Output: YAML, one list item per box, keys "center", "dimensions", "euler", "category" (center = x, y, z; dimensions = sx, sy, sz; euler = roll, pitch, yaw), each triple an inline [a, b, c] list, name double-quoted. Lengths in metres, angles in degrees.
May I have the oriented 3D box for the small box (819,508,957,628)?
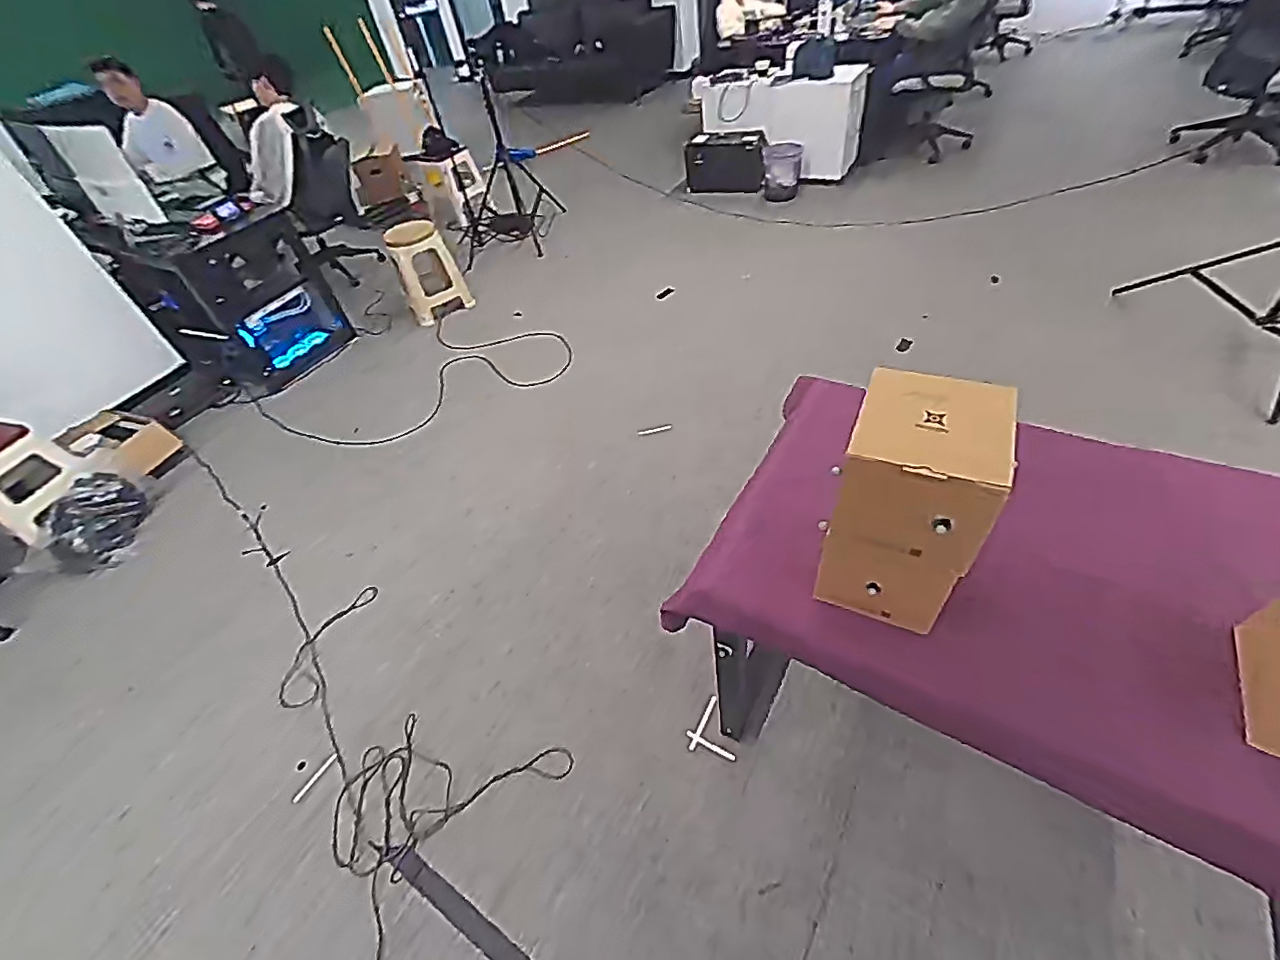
- center: [0.375, 0.092, 0.809]
  dimensions: [0.168, 0.176, 0.179]
  euler: [17, 51, 23]
  category: "small box"

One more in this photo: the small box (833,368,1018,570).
- center: [0.353, -0.013, 0.687]
  dimensions: [0.168, 0.176, 0.179]
  euler: [15, 51, 22]
  category: "small box"

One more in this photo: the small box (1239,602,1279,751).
- center: [0.829, 0.232, 0.599]
  dimensions: [0.168, 0.176, 0.179]
  euler: [19, 53, 26]
  category: "small box"
